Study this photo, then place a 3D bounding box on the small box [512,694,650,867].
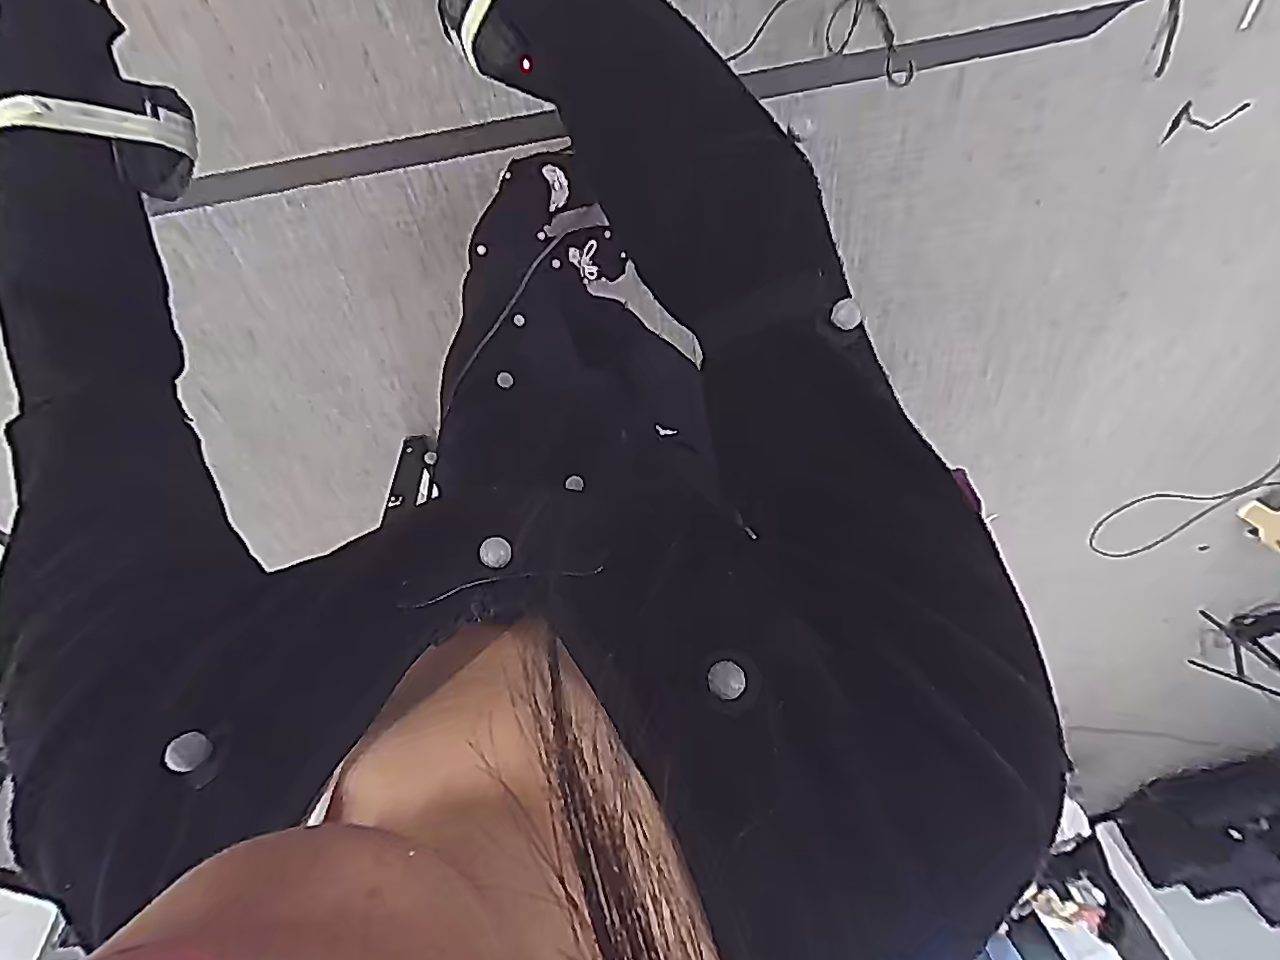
[{"bbox_3d":[-0.091,0.441,0.811,0.168,0.176,0.179,-13,132,-2],"label":"small box"}]
